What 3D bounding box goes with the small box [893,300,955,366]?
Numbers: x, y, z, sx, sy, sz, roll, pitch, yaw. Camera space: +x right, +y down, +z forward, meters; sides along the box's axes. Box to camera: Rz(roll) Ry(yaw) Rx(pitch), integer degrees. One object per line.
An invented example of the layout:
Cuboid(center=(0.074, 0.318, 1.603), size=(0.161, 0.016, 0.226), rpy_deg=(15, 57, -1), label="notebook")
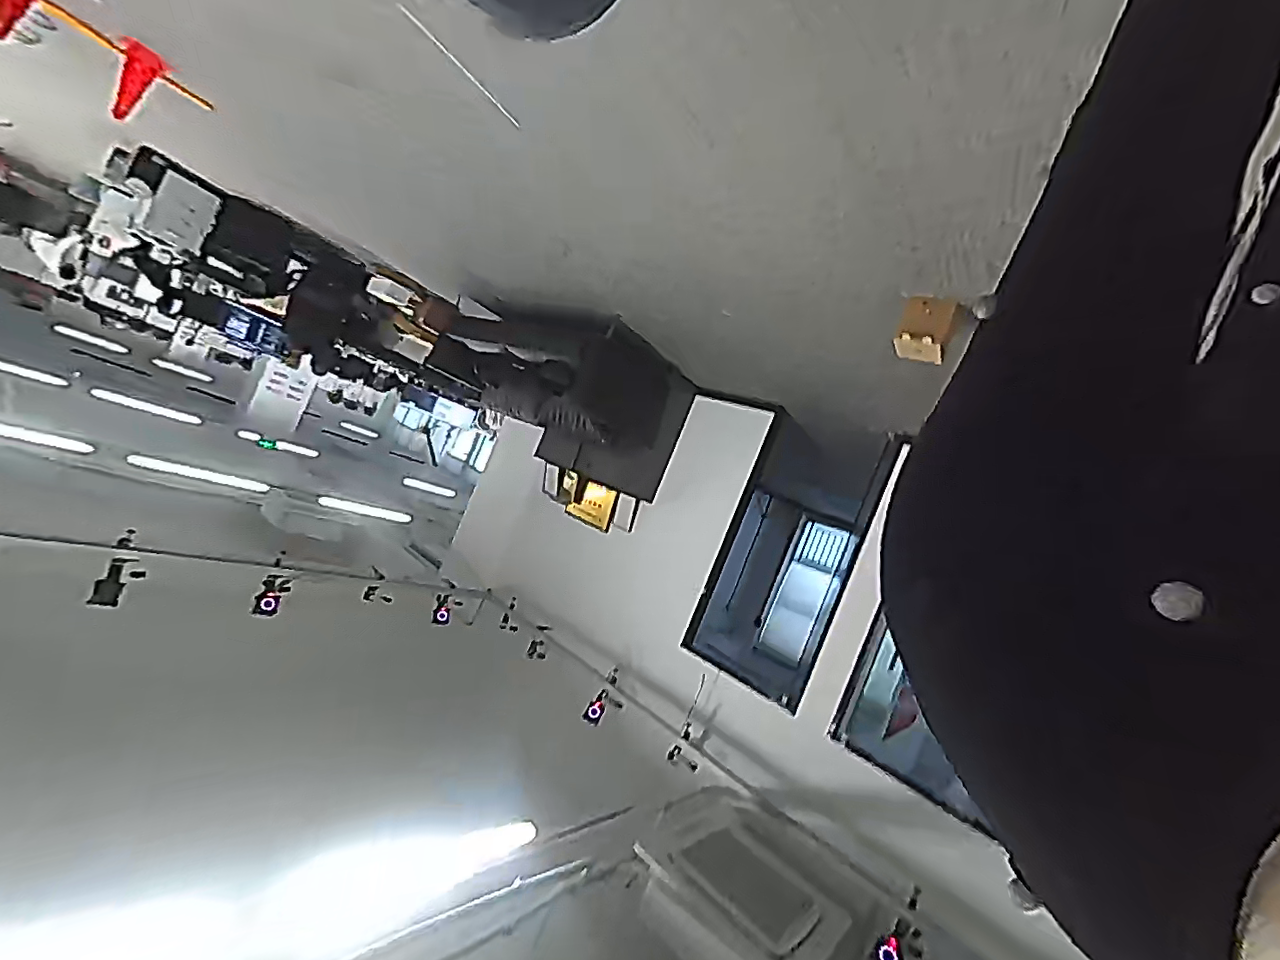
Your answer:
Cuboid(center=(1.078, -0.559, 2.056), size=(0.168, 0.176, 0.179), rpy_deg=(20, 176, 26), label="small box")
